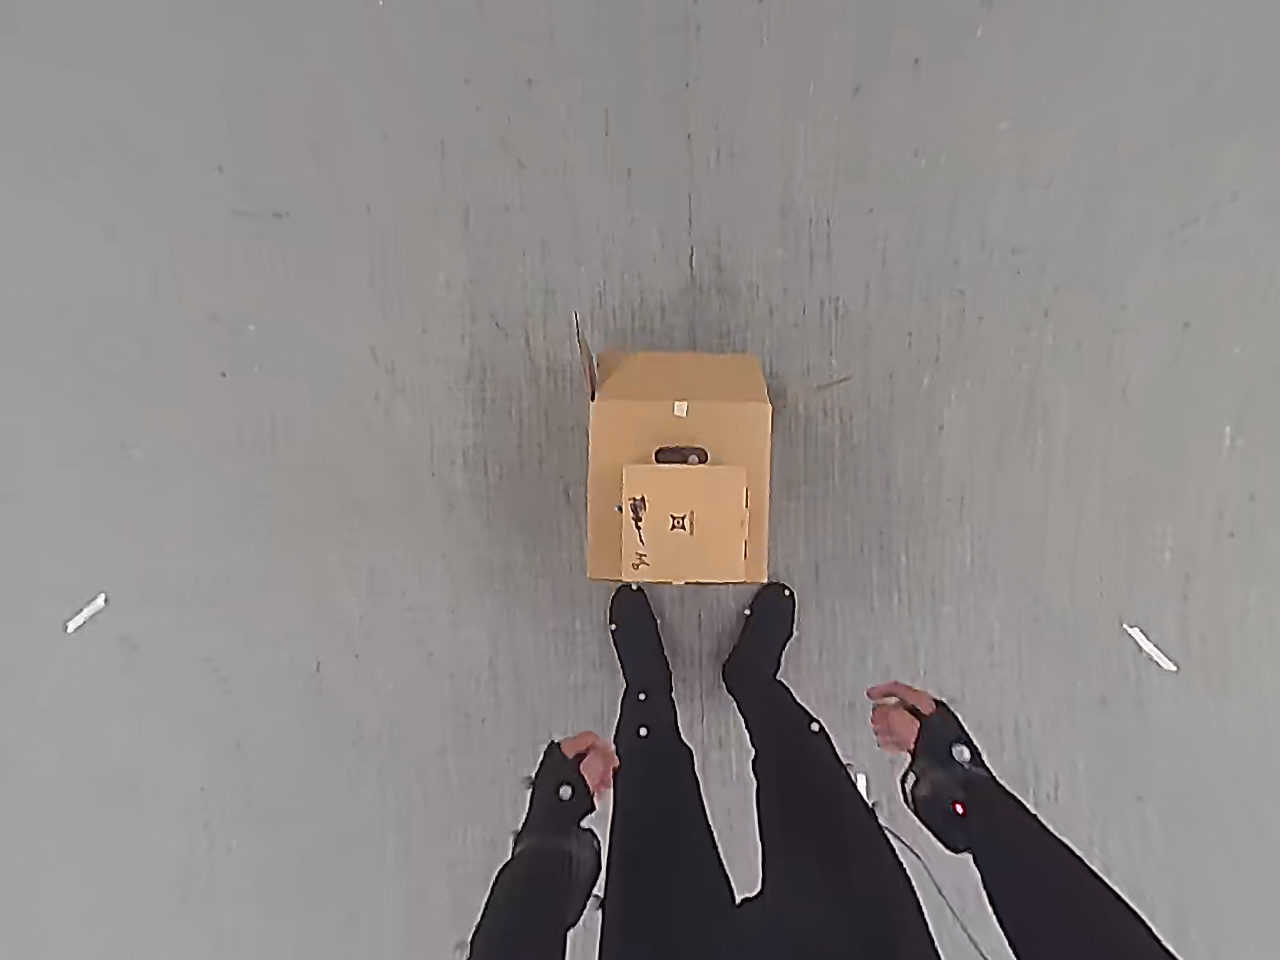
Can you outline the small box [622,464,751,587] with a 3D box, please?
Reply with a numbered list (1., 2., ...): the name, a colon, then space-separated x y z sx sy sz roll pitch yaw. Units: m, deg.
1. small box: 0.063 0.061 0.821 0.179 0.176 0.168 1 92 0
